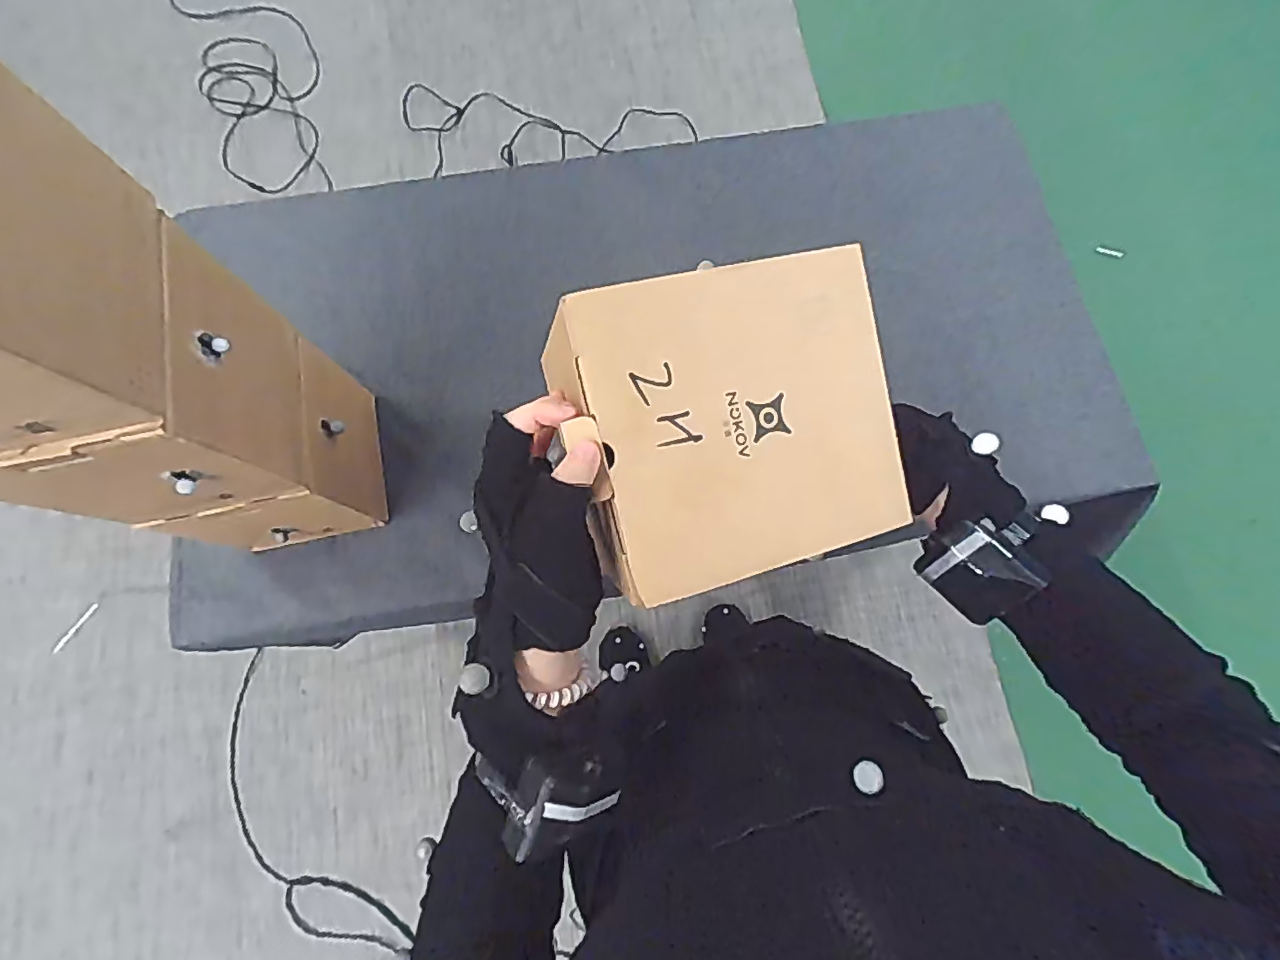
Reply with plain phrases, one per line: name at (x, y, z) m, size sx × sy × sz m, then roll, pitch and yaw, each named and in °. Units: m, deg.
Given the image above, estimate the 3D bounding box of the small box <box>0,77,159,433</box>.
small box at (-0.403, -0.126, 0.284) m, size 0.168 × 0.176 × 0.179 m, roll -13°, pitch 76°, yaw -5°

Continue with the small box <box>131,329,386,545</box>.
small box at (-0.404, -0.037, 0.599) m, size 0.168 × 0.176 × 0.179 m, roll -12°, pitch 77°, yaw -3°

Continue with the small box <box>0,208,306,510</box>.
small box at (-0.402, -0.079, 0.441) m, size 0.168 × 0.176 × 0.179 m, roll -11°, pitch 76°, yaw -4°

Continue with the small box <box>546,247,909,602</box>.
small box at (0.042, -0.037, 0.369) m, size 0.179 × 0.176 × 0.168 m, roll -14°, pitch 95°, yaw -12°
